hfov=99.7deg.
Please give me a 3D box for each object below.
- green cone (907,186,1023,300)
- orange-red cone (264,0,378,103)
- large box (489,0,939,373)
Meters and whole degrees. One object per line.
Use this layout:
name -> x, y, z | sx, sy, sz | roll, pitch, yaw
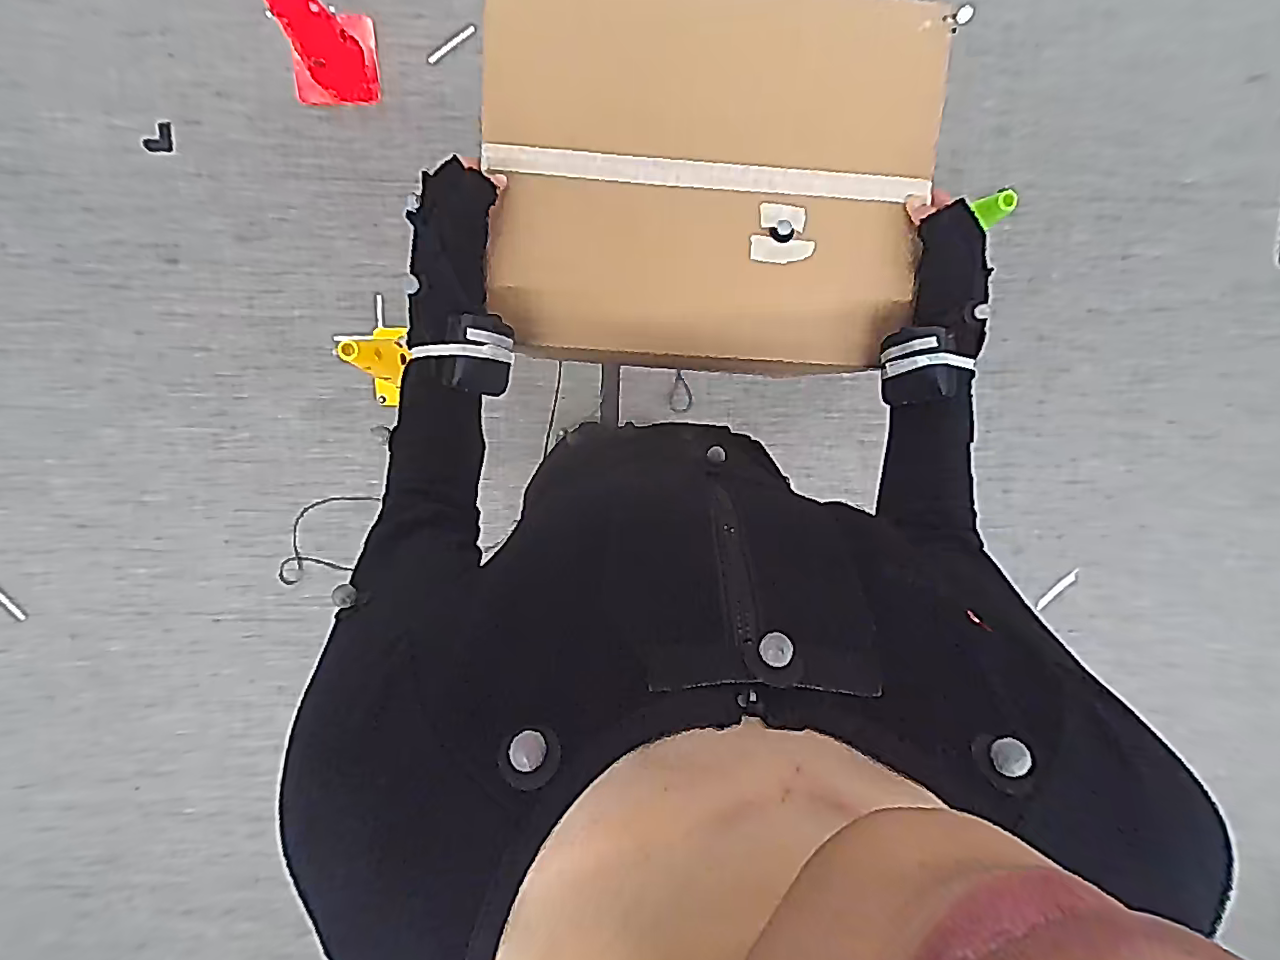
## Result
green cone -> 0.737, -0.587, 1.265 | 0.202, 0.368, 0.200 | -37, 98, 0
orange-red cone -> -0.738, -1.004, 1.150 | 0.198, 0.360, 0.199 | -2, 98, -1
large box -> 0.053, -0.297, 0.637 | 0.408, 0.320, 0.320 | 3, 100, -4
